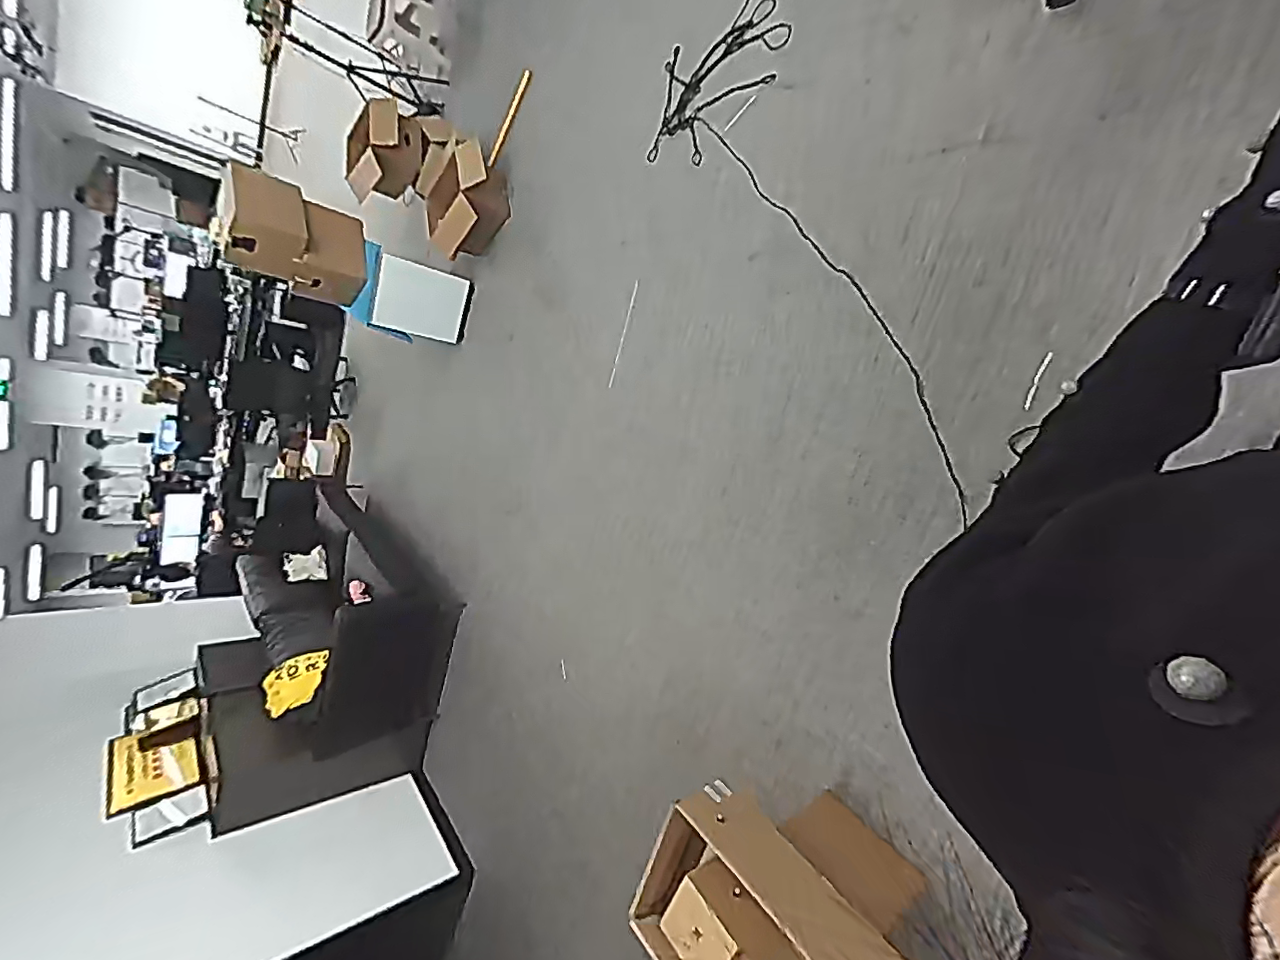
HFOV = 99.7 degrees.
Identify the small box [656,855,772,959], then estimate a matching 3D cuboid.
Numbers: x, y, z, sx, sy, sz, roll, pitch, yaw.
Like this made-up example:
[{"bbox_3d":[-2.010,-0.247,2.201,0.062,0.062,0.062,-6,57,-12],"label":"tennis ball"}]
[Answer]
[{"bbox_3d":[0.174,1.012,1.239,0.168,0.176,0.179,38,113,43],"label":"small box"}]
